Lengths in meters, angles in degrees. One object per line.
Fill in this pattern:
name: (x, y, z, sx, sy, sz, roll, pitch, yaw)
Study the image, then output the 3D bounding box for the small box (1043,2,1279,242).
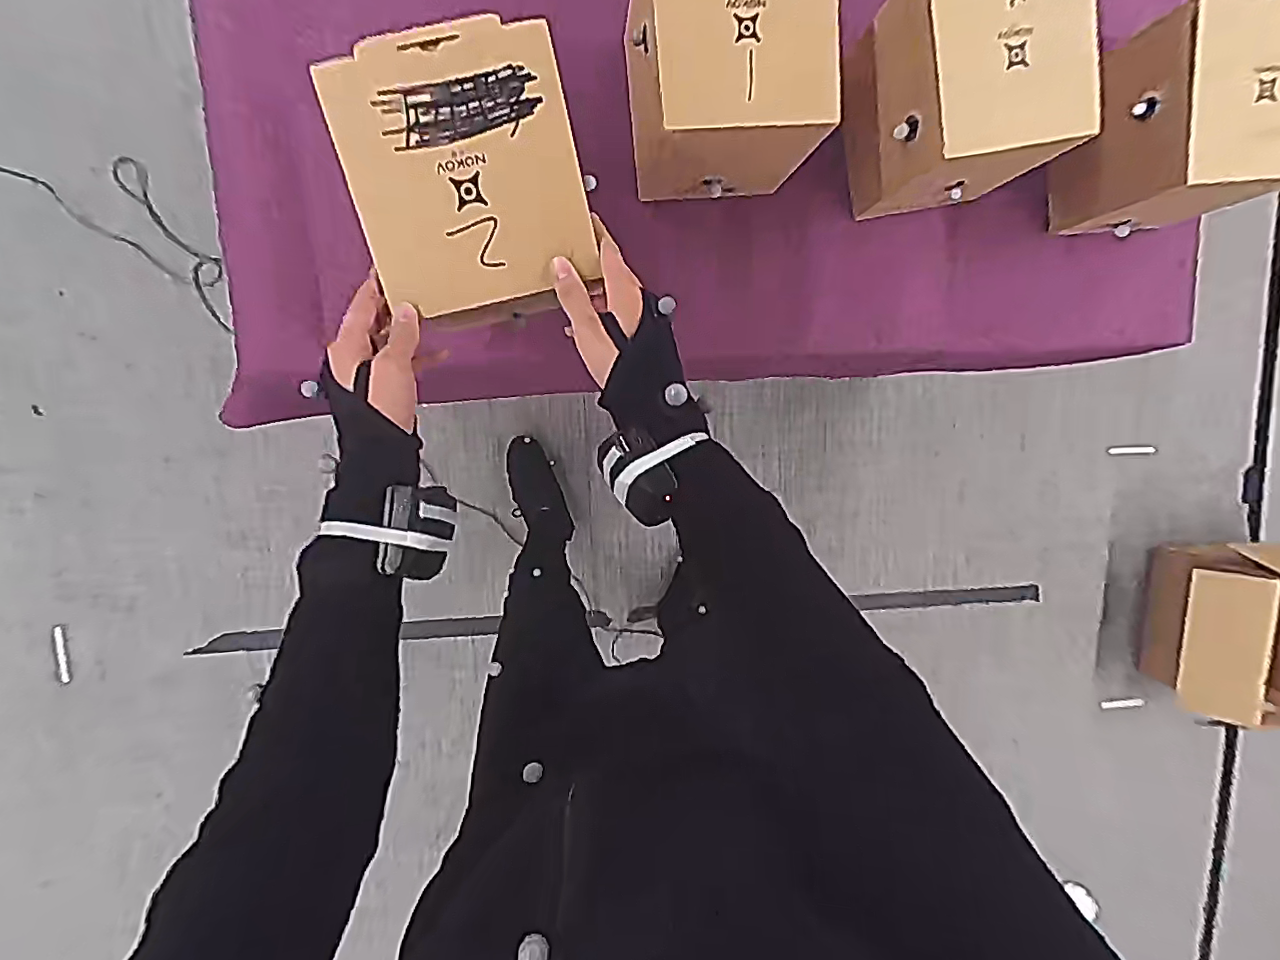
small box: (0.605, -0.394, 0.621, 0.168, 0.176, 0.179, -6, 97, -6)

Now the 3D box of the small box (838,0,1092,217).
small box: (0.335, -0.404, 0.585, 0.168, 0.176, 0.179, -12, 98, -6)

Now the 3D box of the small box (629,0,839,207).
small box: (0.084, -0.405, 0.553, 0.168, 0.176, 0.179, -7, 98, -6)
